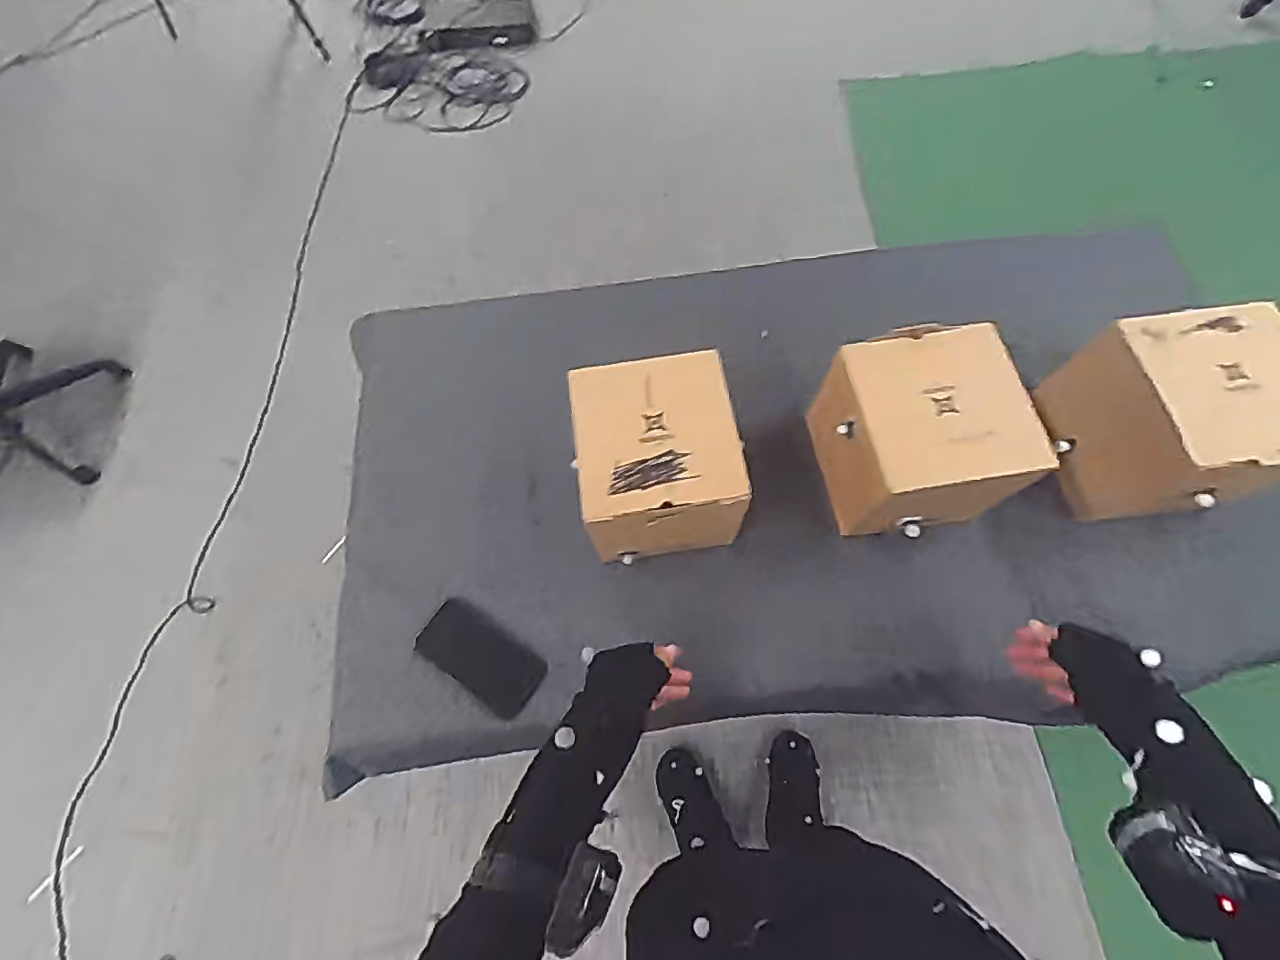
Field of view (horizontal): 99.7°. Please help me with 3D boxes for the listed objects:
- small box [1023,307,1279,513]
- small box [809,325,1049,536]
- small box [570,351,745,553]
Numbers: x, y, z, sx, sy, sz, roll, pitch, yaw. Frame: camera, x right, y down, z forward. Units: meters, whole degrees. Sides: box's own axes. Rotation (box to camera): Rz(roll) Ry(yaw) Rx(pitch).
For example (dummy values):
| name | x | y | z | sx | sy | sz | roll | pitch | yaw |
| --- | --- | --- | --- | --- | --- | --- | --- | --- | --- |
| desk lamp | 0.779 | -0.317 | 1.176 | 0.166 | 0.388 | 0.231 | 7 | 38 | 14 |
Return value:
| name | x | y | z | sx | sy | sz | roll | pitch | yaw |
| --- | --- | --- | --- | --- | --- | --- | --- | --- | --- |
| small box | 0.594 | -0.068 | 0.621 | 0.168 | 0.176 | 0.179 | -6 | 68 | 0 |
| small box | 0.311 | -0.049 | 0.631 | 0.168 | 0.176 | 0.179 | -9 | 69 | 0 |
| small box | 0.018 | -0.021 | 0.632 | 0.168 | 0.176 | 0.179 | -8 | 67 | -1 |
